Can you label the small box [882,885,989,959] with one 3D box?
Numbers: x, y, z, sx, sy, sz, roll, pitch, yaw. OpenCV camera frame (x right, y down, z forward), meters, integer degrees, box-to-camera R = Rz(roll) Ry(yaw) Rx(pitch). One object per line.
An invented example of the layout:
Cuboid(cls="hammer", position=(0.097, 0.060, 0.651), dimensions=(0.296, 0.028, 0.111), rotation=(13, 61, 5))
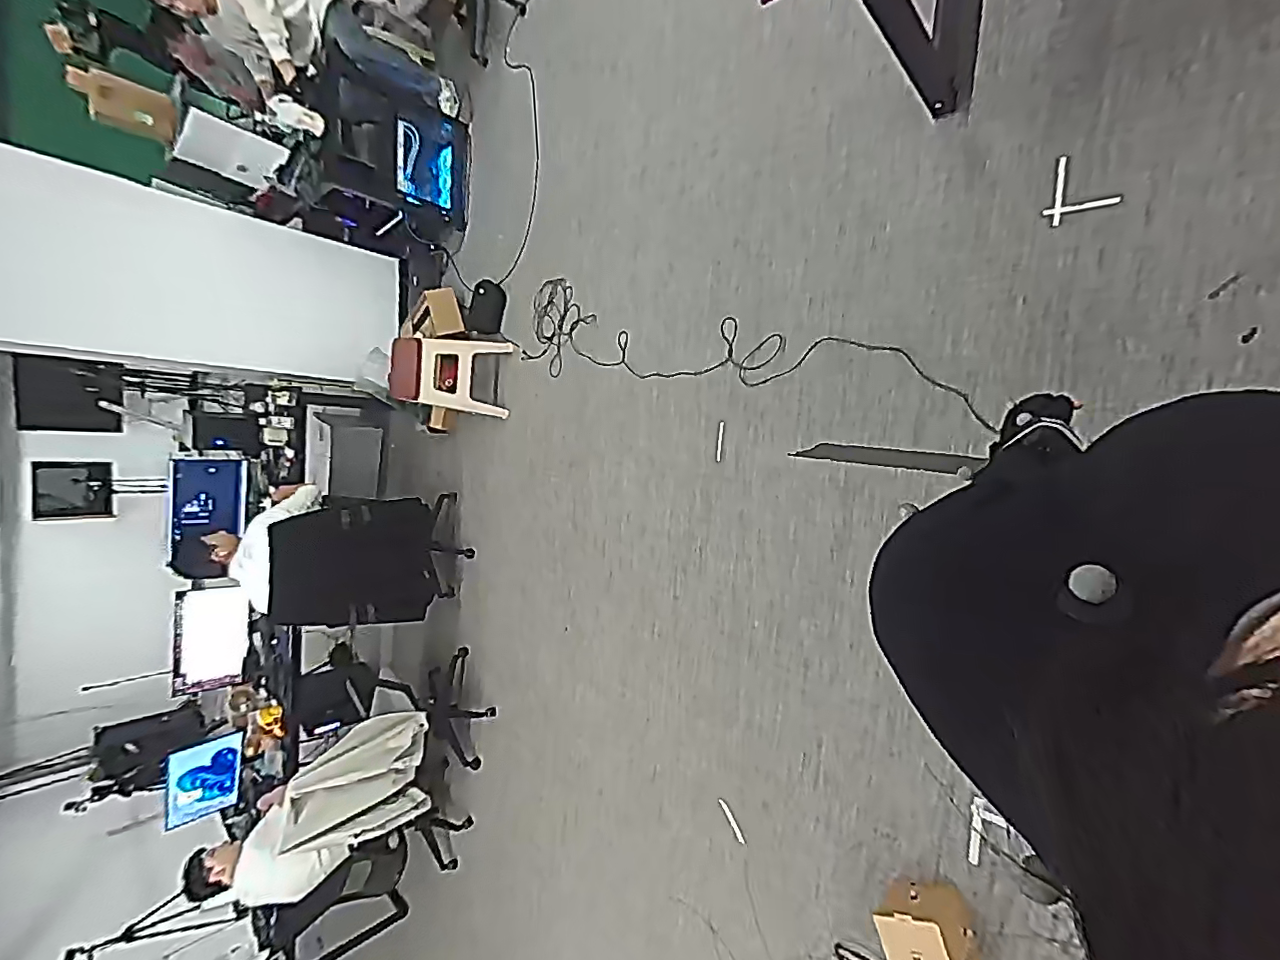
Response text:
Cuboid(cls="small box", position=(0.742, 1.156, 1.353), dimensions=(0.168, 0.176, 0.179), rotation=(-29, 70, 41))
